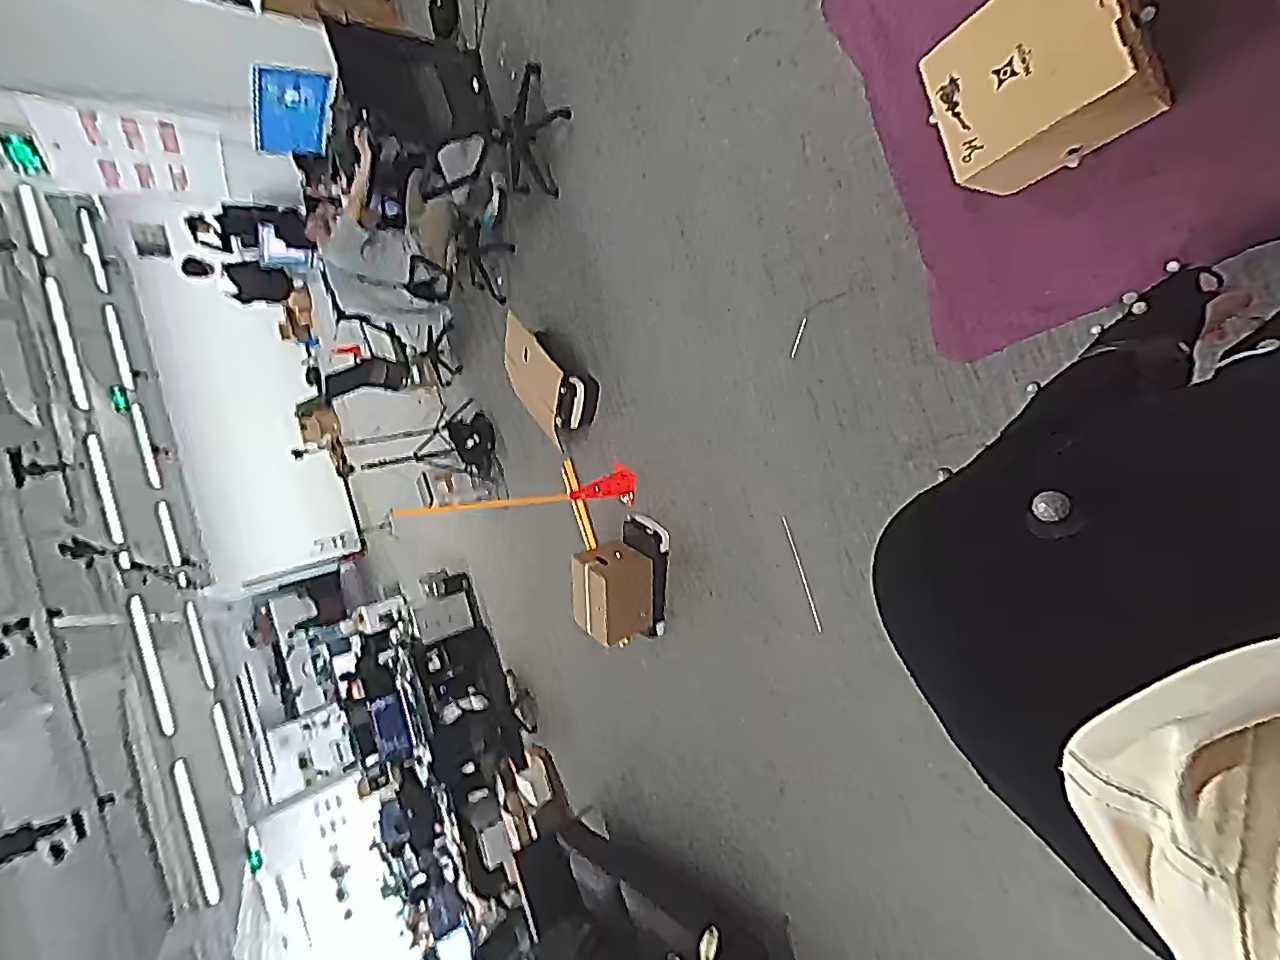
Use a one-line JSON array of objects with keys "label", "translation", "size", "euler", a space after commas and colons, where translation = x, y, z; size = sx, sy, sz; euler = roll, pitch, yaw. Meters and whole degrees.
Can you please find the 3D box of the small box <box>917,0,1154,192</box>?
[{"label": "small box", "translation": [0.477, -0.477, 0.650], "size": [0.179, 0.176, 0.168], "euler": [-19, 87, 53]}]
